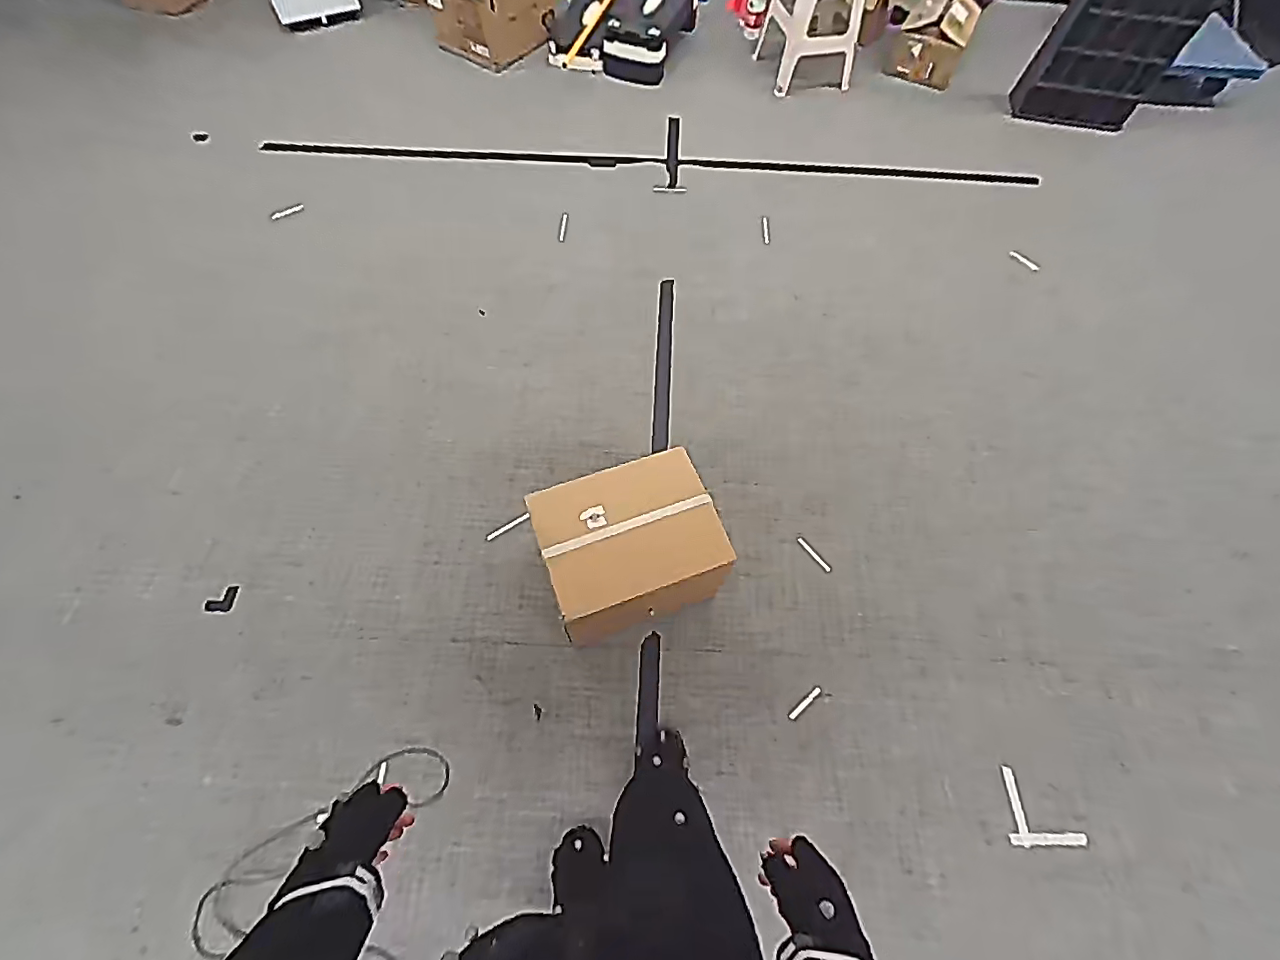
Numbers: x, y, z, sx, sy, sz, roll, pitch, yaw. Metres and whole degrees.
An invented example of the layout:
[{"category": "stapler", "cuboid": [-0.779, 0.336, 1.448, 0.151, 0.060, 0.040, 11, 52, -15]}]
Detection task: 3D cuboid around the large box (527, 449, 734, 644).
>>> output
[{"category": "large box", "cuboid": [-0.029, 0.177, 1.363, 0.408, 0.320, 0.320, -18, 65, -10]}]
